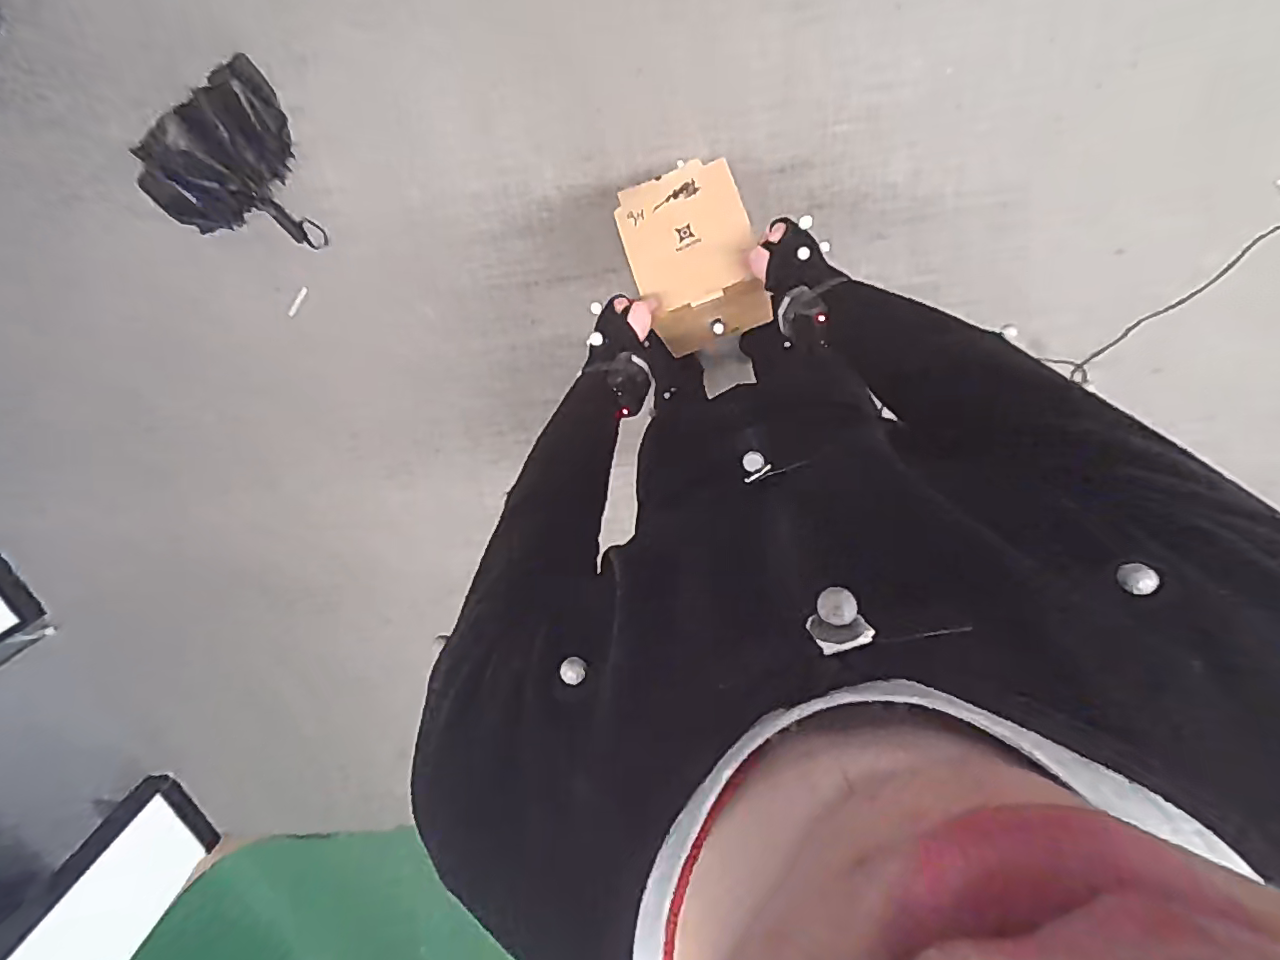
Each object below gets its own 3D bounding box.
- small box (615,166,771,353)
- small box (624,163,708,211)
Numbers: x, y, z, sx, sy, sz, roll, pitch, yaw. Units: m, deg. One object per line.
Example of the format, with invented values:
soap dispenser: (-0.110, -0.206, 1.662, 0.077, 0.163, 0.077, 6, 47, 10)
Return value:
small box: (0.086, -0.303, 0.793, 0.168, 0.176, 0.179, -19, 81, 15)
small box: (0.077, -0.517, 1.104, 0.168, 0.176, 0.179, -17, 115, 13)
